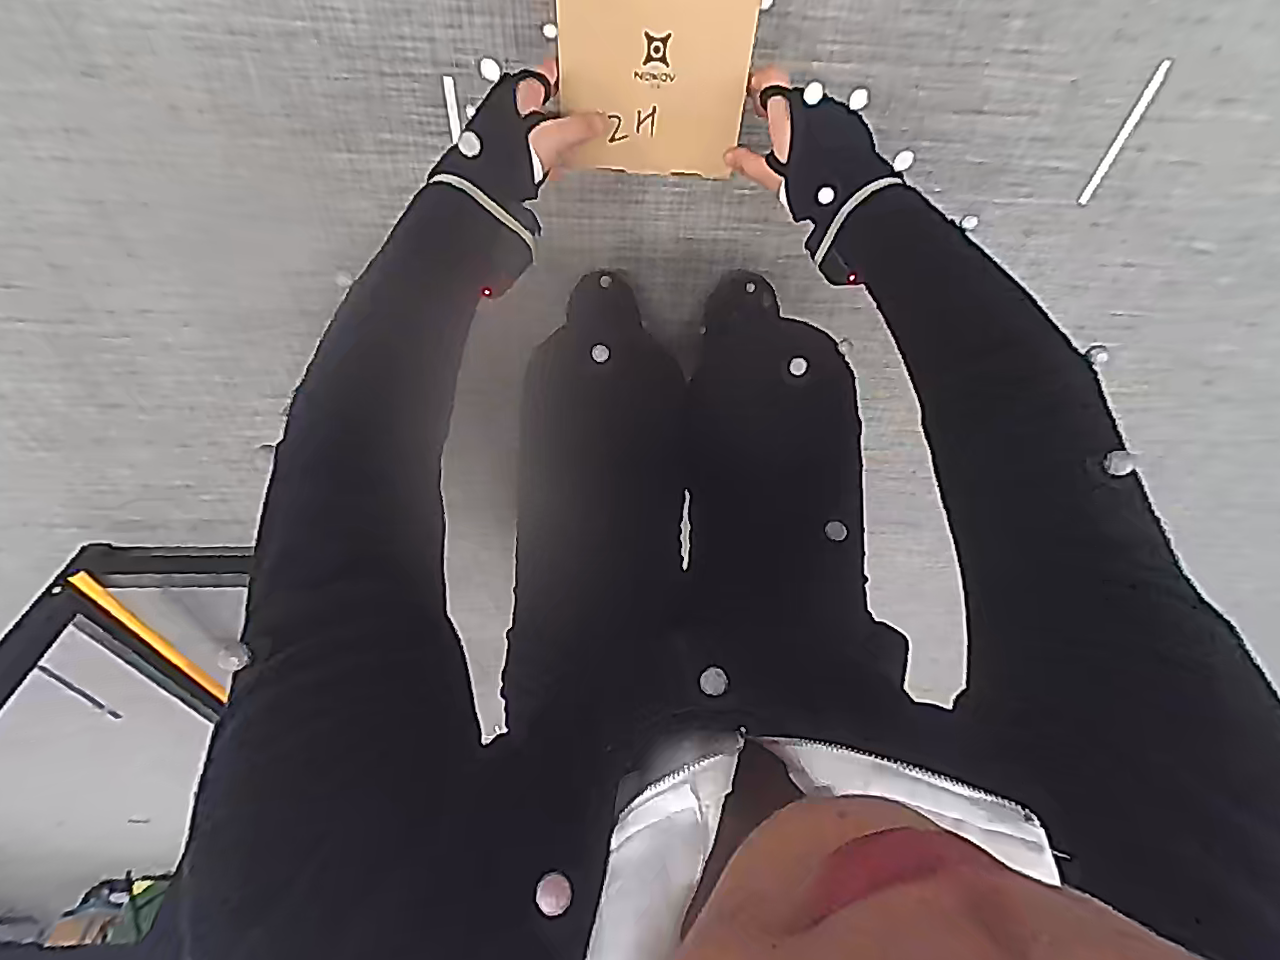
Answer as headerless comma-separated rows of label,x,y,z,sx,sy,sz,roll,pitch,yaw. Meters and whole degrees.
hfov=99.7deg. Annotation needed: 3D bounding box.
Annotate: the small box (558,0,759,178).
small box,0.010,-0.415,0.517,0.168,0.176,0.179,2,136,-3
